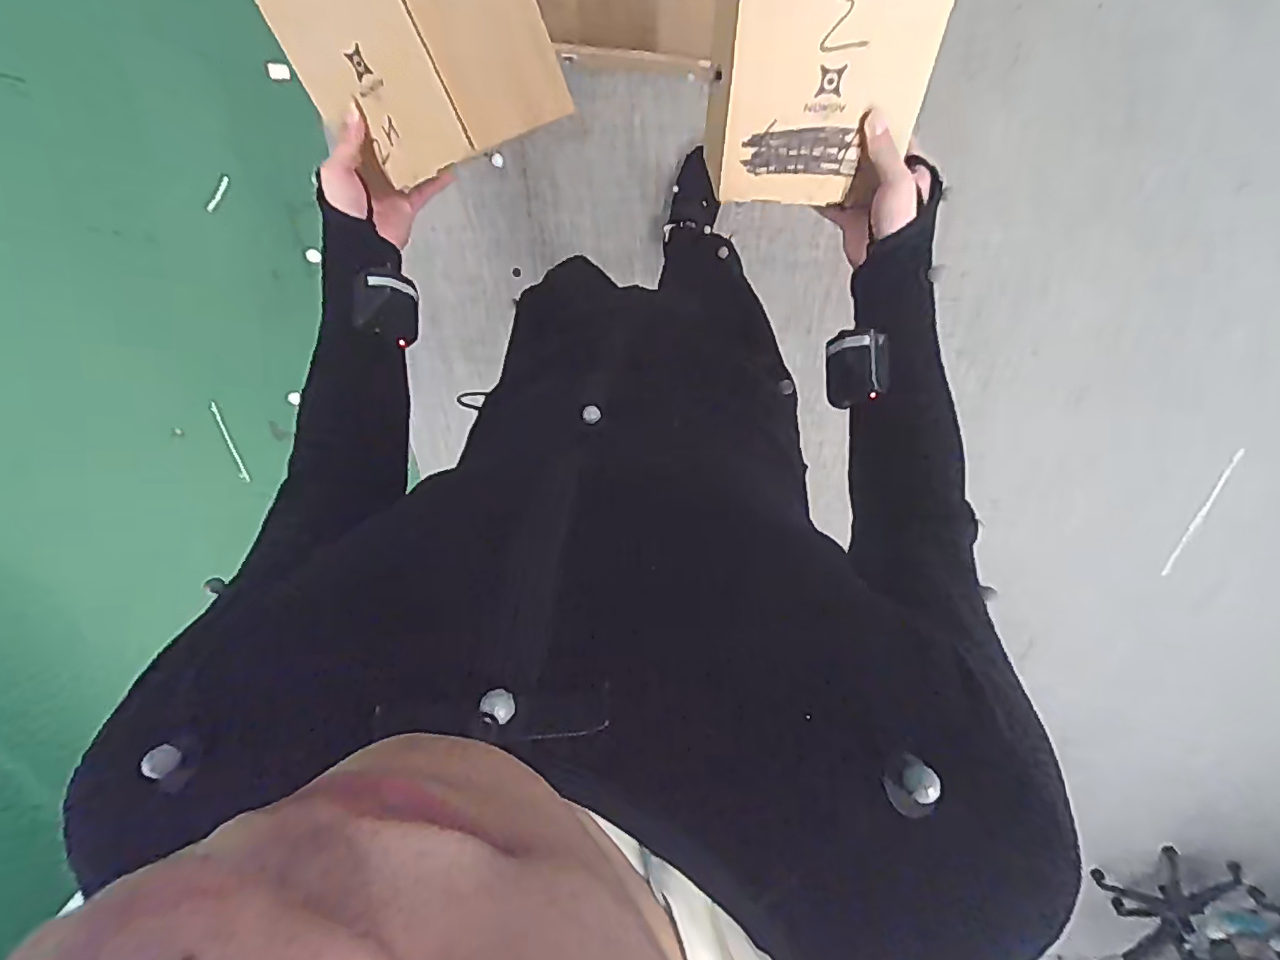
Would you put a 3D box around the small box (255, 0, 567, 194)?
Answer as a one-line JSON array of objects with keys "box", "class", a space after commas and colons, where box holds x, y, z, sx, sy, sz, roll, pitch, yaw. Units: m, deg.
[{"box": [-0.200, -0.402, 0.505, 0.168, 0.176, 0.179, 2, 132, 34], "class": "small box"}]
